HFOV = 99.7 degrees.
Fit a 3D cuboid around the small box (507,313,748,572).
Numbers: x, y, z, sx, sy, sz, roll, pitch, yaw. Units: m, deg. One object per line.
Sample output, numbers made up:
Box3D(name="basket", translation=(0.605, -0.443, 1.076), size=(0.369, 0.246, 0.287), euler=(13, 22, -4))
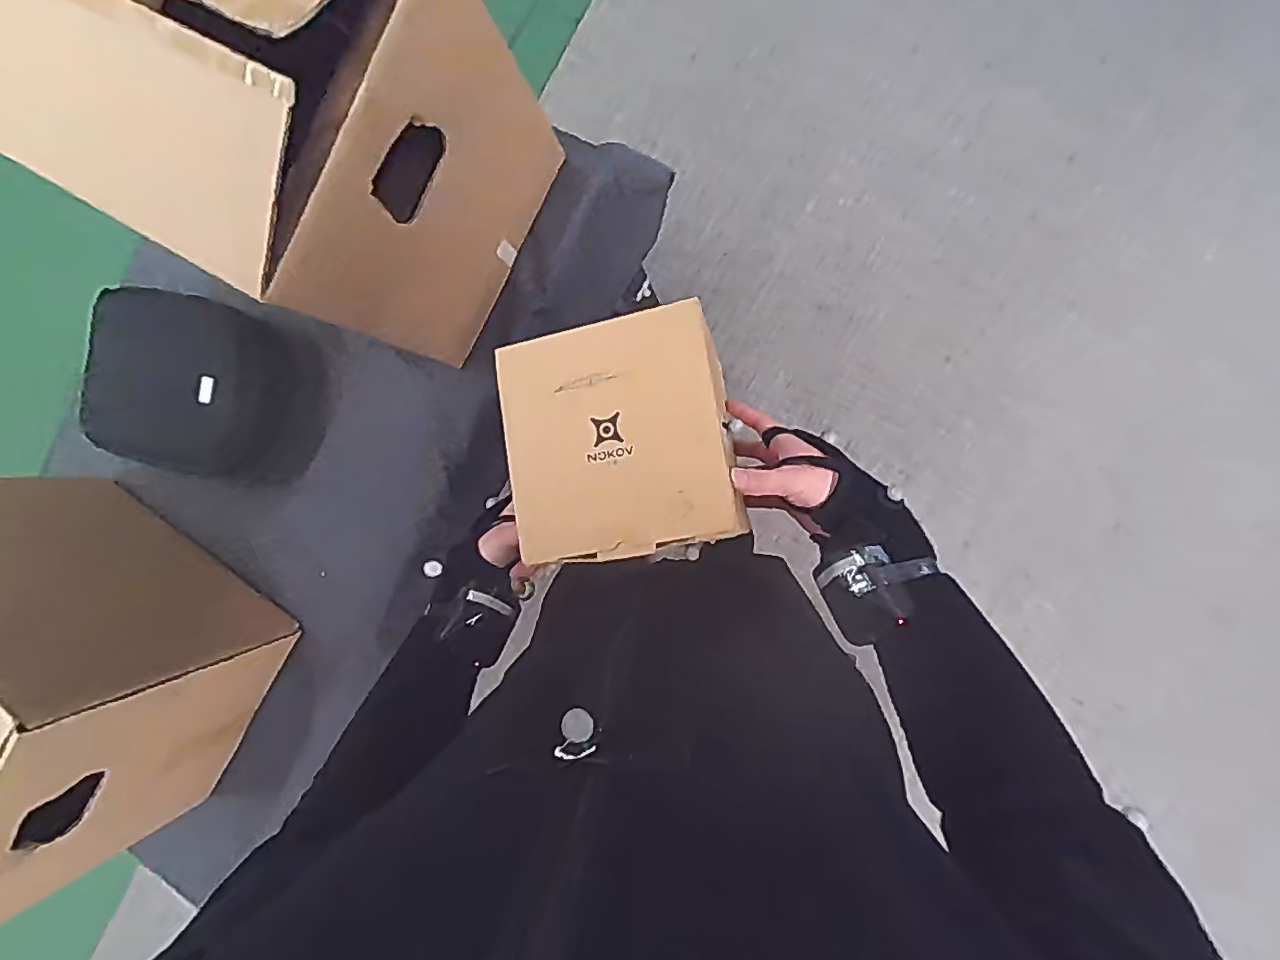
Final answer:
Box3D(name="small box", translation=(0.001, -0.020, 0.485), size=(0.168, 0.176, 0.179), euler=(-10, 81, 12))
